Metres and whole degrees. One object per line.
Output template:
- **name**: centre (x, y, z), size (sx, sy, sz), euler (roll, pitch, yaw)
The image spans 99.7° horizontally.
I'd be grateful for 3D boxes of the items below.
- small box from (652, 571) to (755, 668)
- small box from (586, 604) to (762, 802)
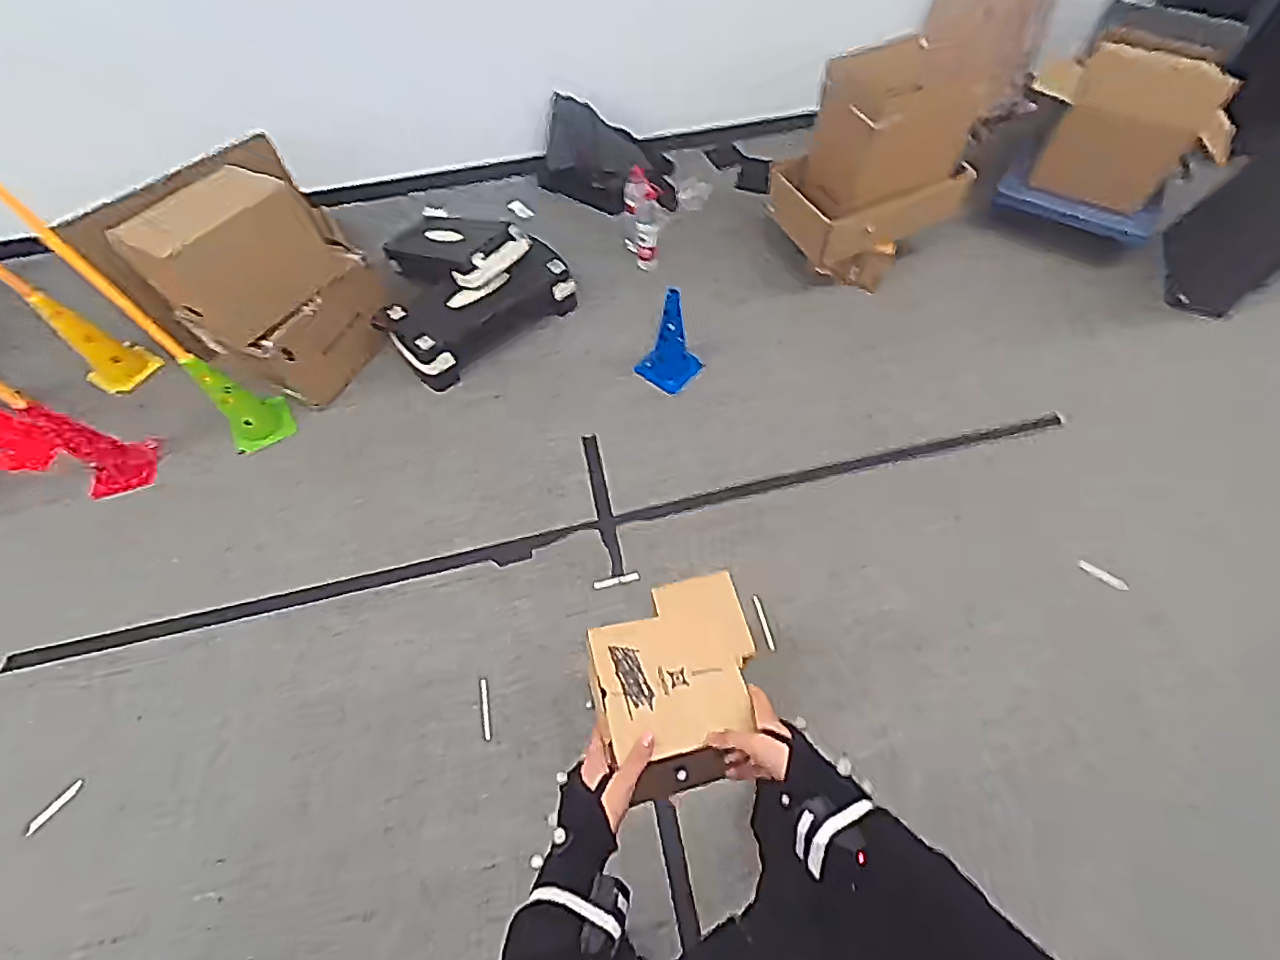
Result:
- **small box**: centre (0.121, 0.314, 1.127), size (0.168, 0.176, 0.179), euler (-12, 62, -6)
- **small box**: centre (0.036, 0.292, 0.703), size (0.179, 0.176, 0.168), euler (-11, 48, -11)
